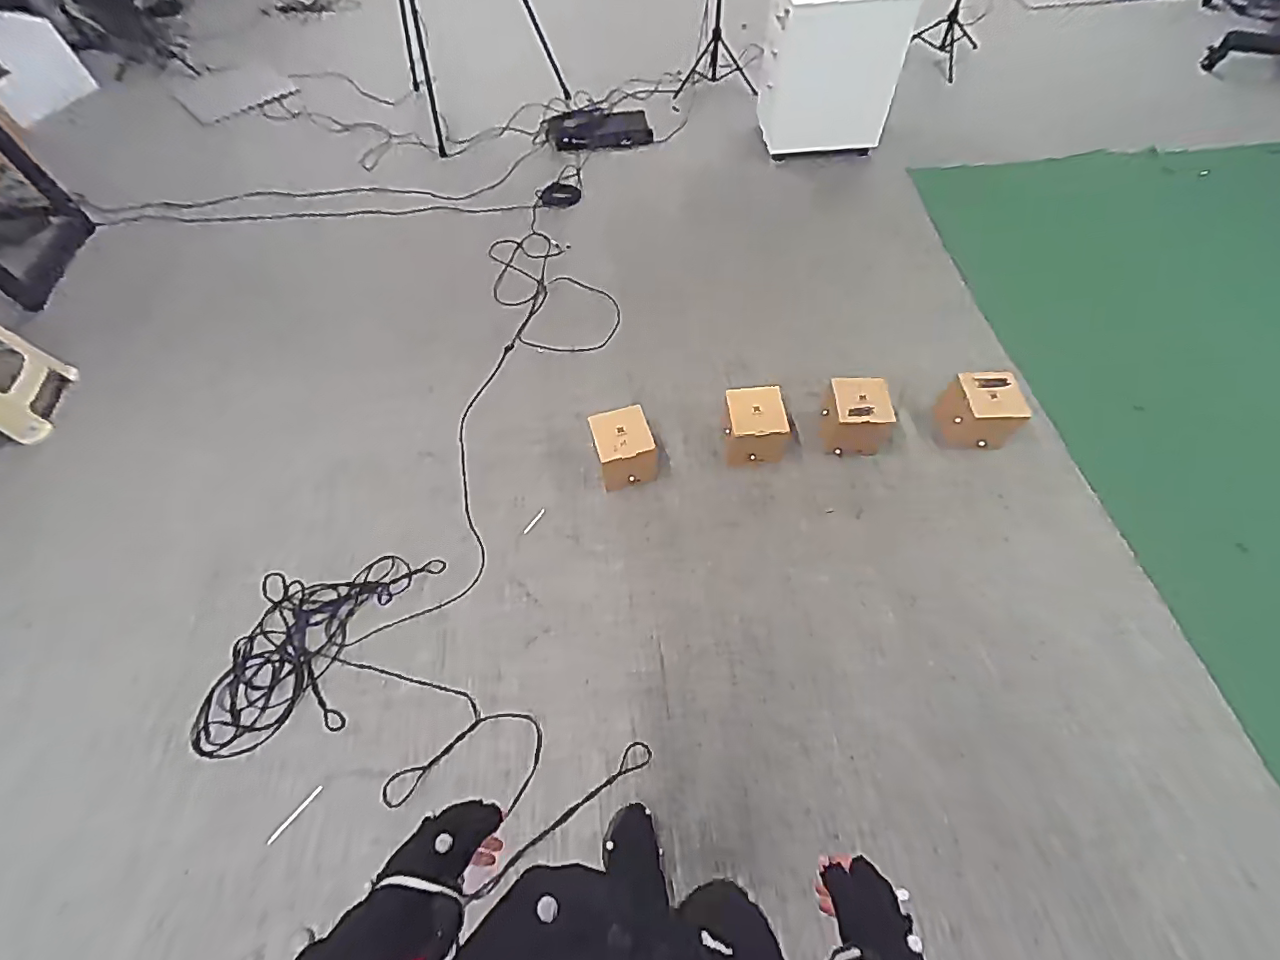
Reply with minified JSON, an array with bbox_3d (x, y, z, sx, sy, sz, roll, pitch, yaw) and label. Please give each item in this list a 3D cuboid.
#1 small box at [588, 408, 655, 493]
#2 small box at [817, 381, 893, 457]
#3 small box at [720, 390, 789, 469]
[{"bbox_3d":[-0.055,-0.087,1.644,0.168,0.176,0.179,-15,59,-6],"label":"small box"},{"bbox_3d":[0.658,-0.186,1.675,0.168,0.176,0.179,1,57,2],"label":"small box"},{"bbox_3d":[0.345,-0.155,1.670,0.168,0.176,0.179,-5,58,0],"label":"small box"}]
